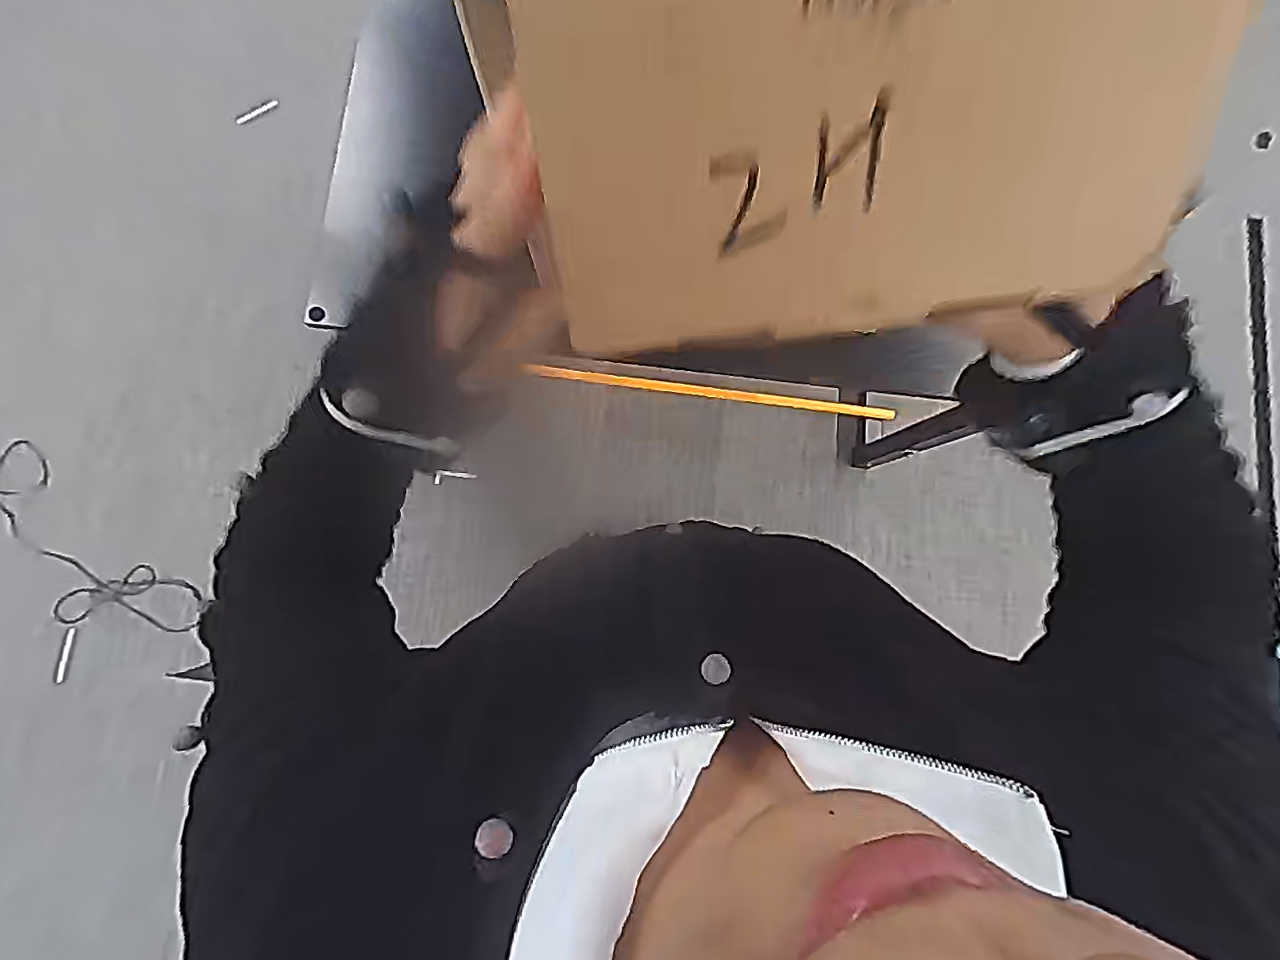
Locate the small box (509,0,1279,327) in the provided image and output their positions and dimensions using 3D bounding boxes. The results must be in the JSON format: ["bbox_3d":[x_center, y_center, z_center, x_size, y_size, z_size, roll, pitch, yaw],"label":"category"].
[{"bbox_3d":[0.051,-0.165,0.167,0.168,0.176,0.179,-6,122,4],"label":"small box"}]
